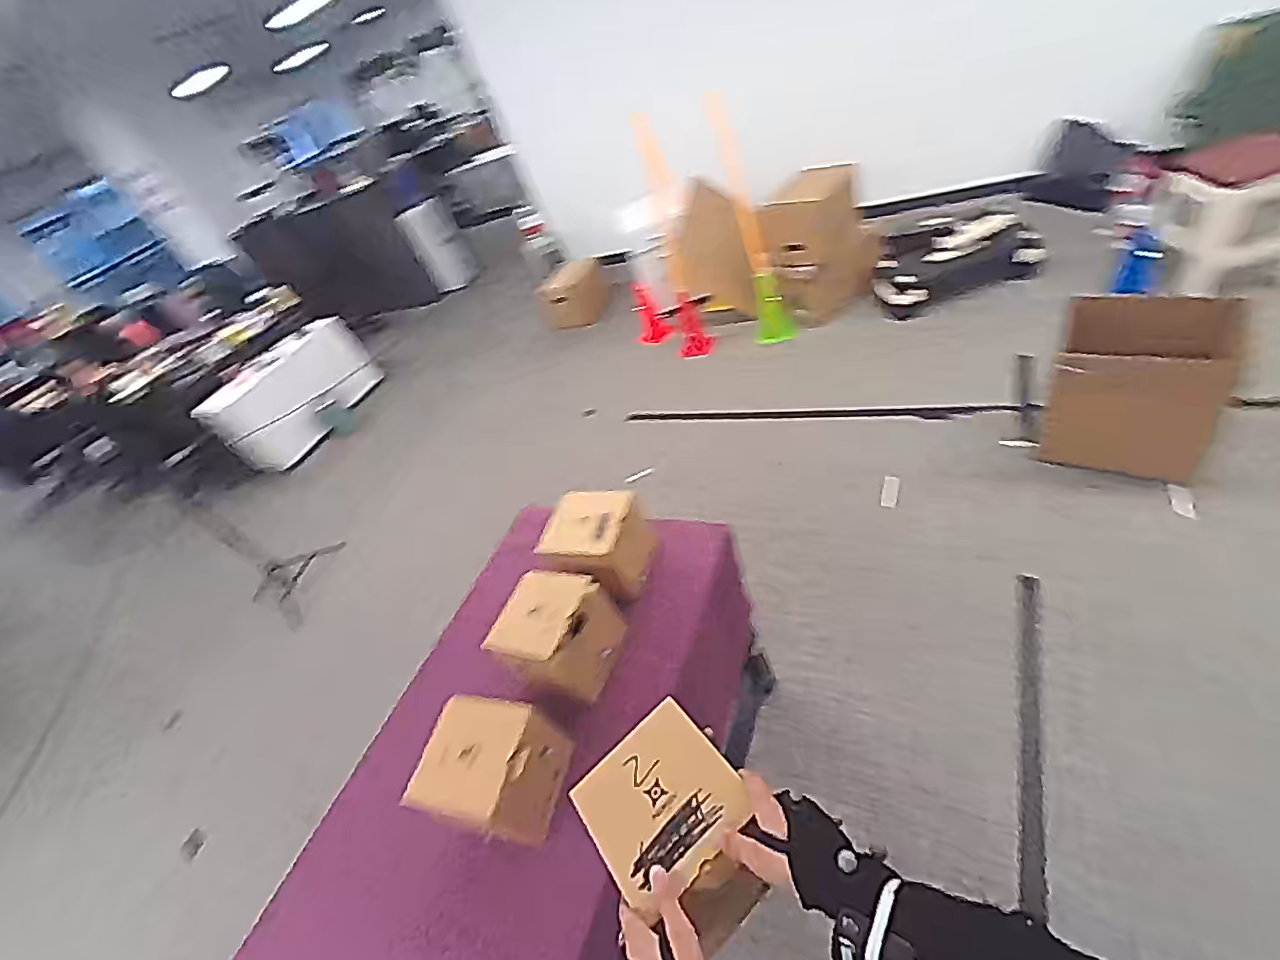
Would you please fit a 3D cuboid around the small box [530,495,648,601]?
[{"bbox_3d":[-0.101,0.150,1.182,0.179,0.176,0.168,-3,47,27],"label":"small box"}]

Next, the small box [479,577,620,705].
[{"bbox_3d":[-0.167,0.313,1.050,0.179,0.176,0.168,3,50,30],"label":"small box"}]

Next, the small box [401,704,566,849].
[{"bbox_3d":[-0.249,0.497,0.907,0.179,0.176,0.168,-5,45,24],"label":"small box"}]
